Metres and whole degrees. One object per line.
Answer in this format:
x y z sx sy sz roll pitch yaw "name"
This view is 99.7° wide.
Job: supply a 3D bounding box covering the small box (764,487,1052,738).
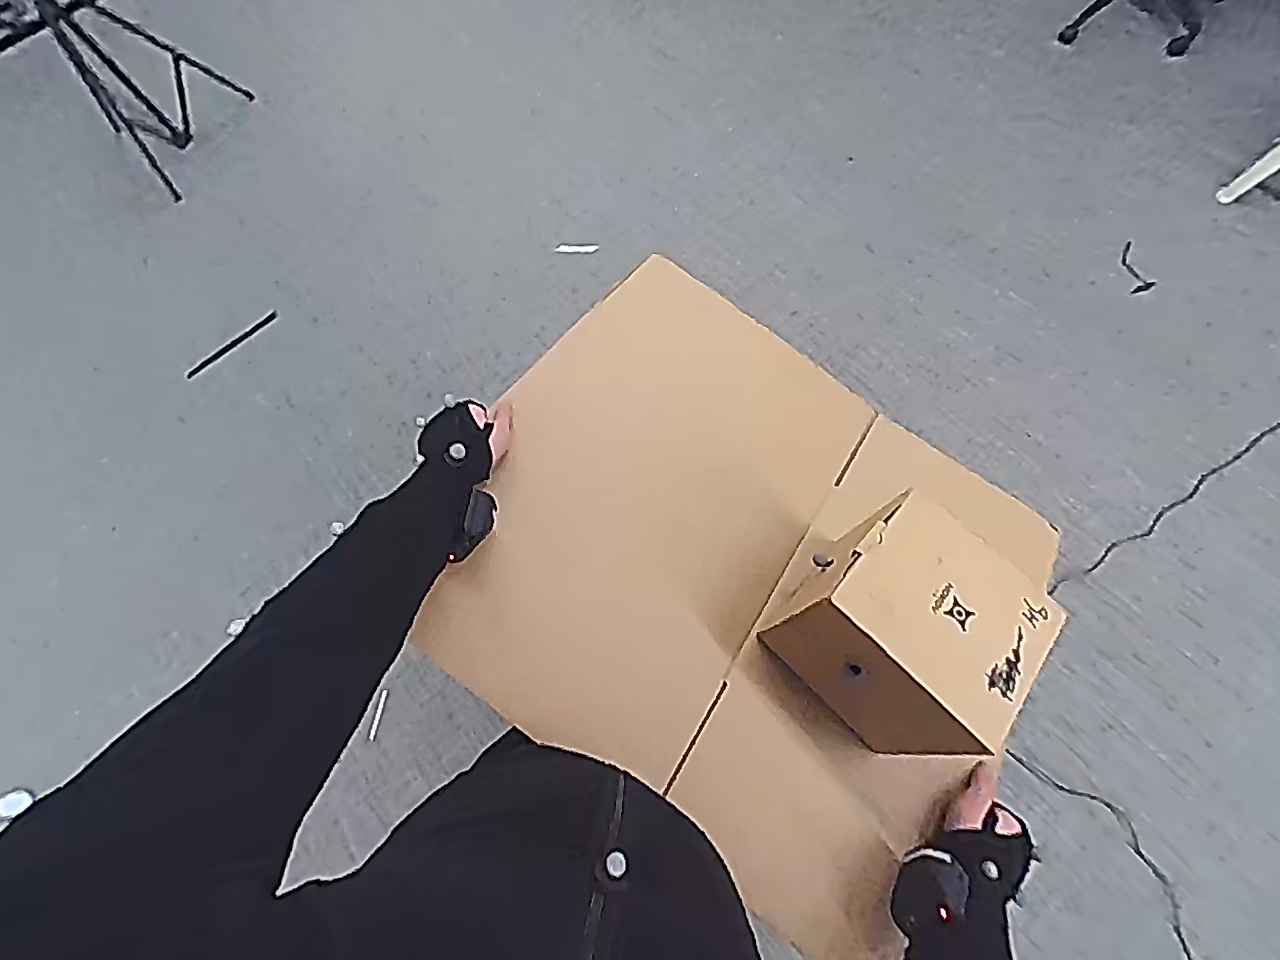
0.259 0.145 0.562 0.179 0.176 0.168 43 64 13 "small box"
